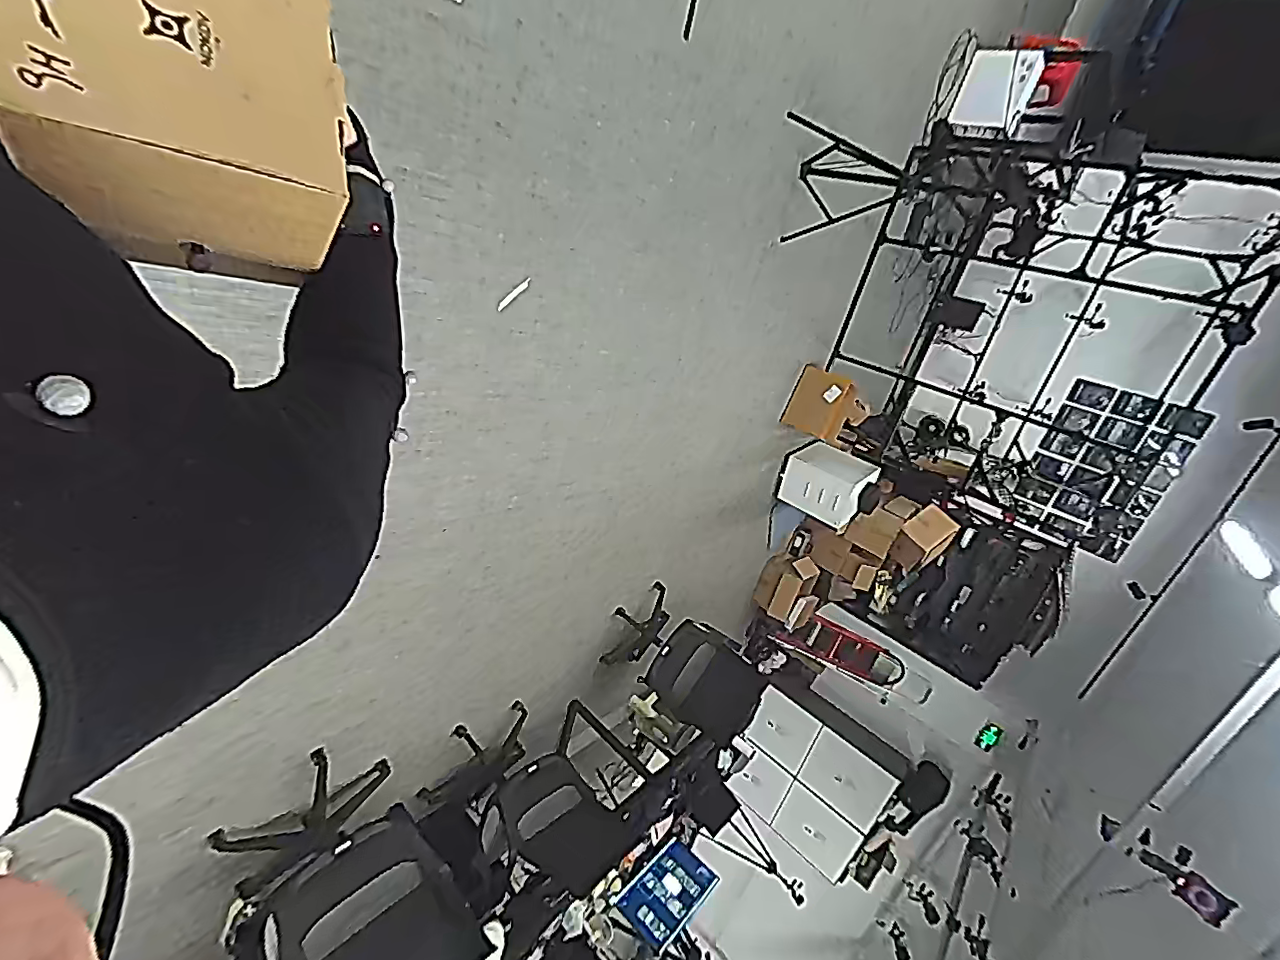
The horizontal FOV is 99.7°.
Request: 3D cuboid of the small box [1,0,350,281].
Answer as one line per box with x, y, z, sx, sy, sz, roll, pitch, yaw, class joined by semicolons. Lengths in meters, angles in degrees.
-0.346;-0.275;0.420;0.179;0.176;0.168;-4;84;-41;small box
